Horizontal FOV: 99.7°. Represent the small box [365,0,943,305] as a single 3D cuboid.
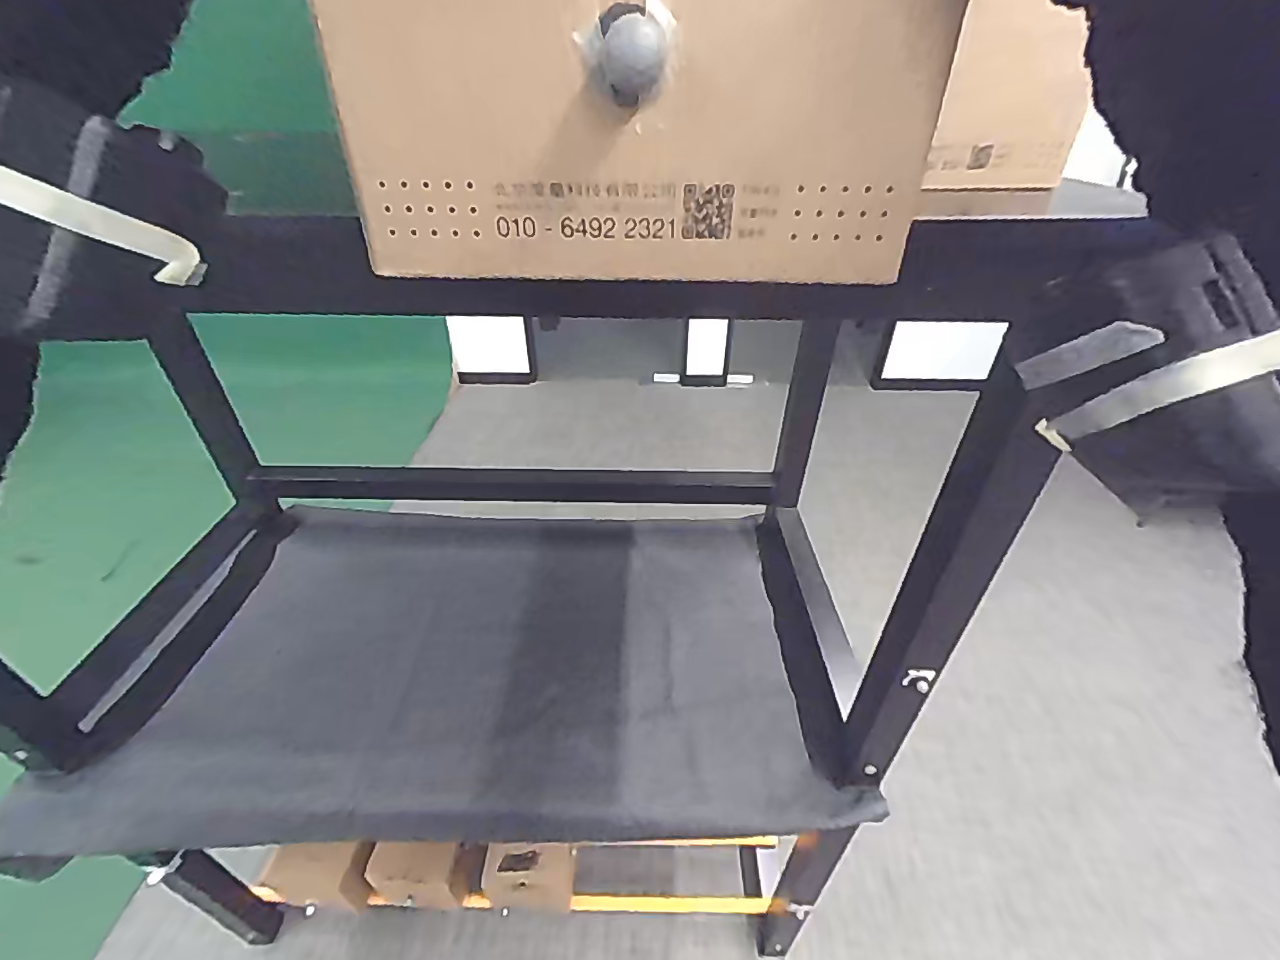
[{"bbox_3d":[0.002,-0.176,0.213,0.168,0.176,0.179,0,32,1],"label":"small box"}]
